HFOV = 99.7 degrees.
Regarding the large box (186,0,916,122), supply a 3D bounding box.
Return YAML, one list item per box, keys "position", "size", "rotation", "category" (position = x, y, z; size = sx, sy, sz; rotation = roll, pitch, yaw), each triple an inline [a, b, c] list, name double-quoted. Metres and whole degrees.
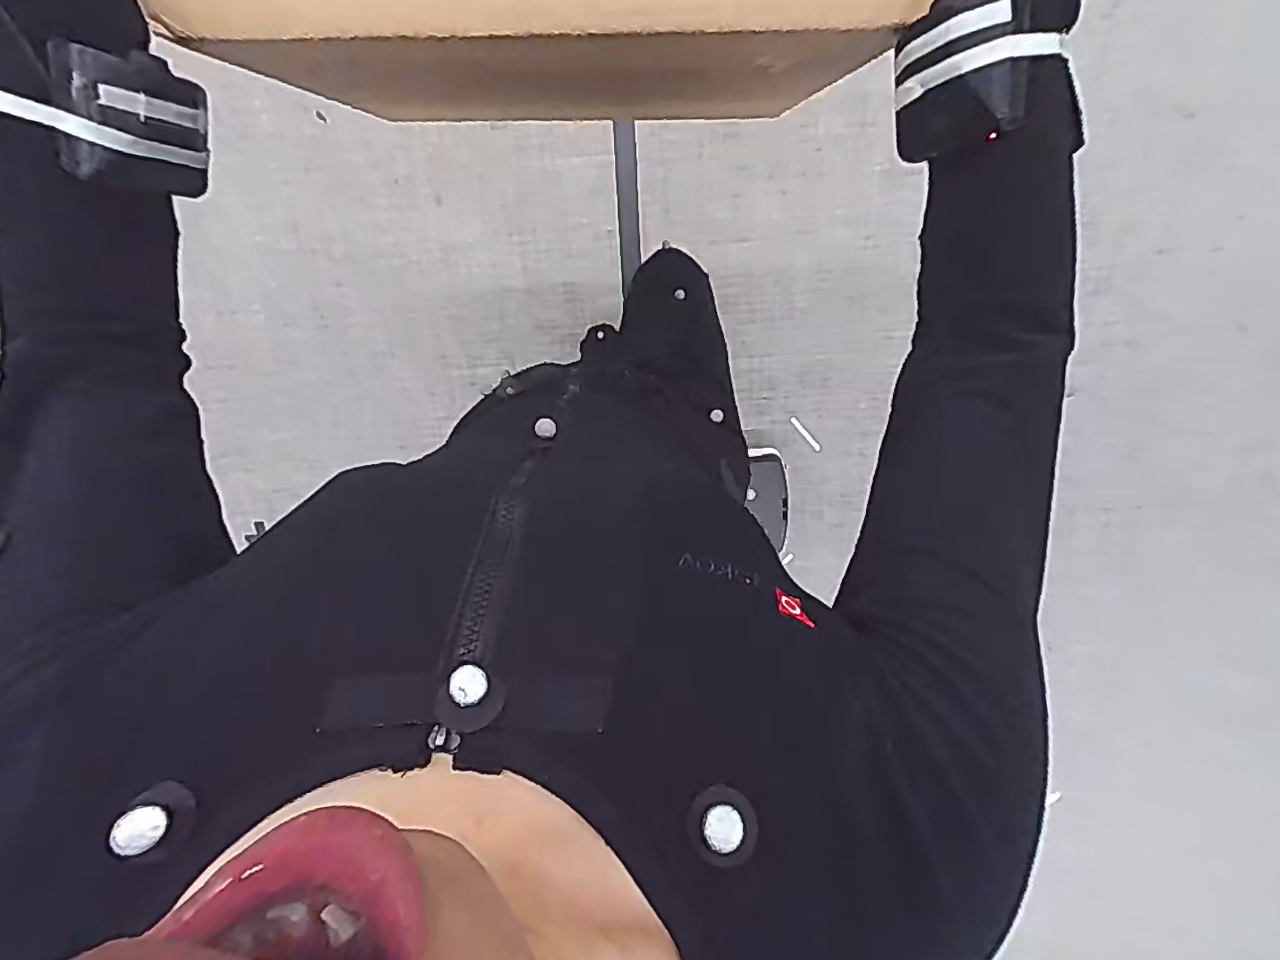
- position: [-0.053, -0.451, 0.360]
  size: [0.408, 0.320, 0.320]
  rotation: [-2, 117, -1]
  category: "large box"
